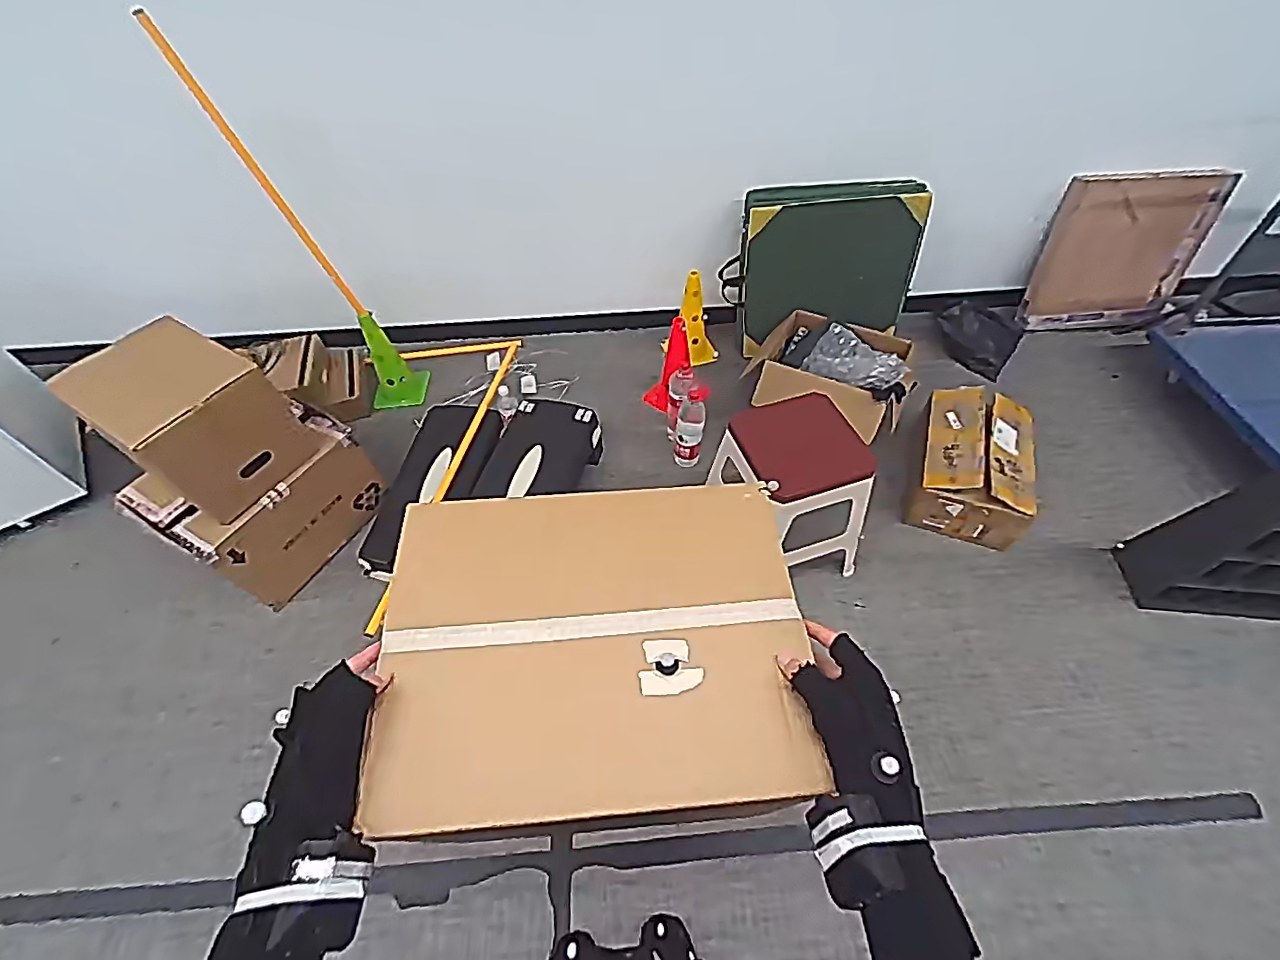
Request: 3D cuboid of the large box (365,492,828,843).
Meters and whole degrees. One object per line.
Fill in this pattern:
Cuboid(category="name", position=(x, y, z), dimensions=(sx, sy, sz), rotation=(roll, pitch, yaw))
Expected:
Cuboid(category="large box", position=(-0.048, 0.236, 0.662), dimensions=(0.408, 0.320, 0.320), rotation=(-3, 55, -3))
